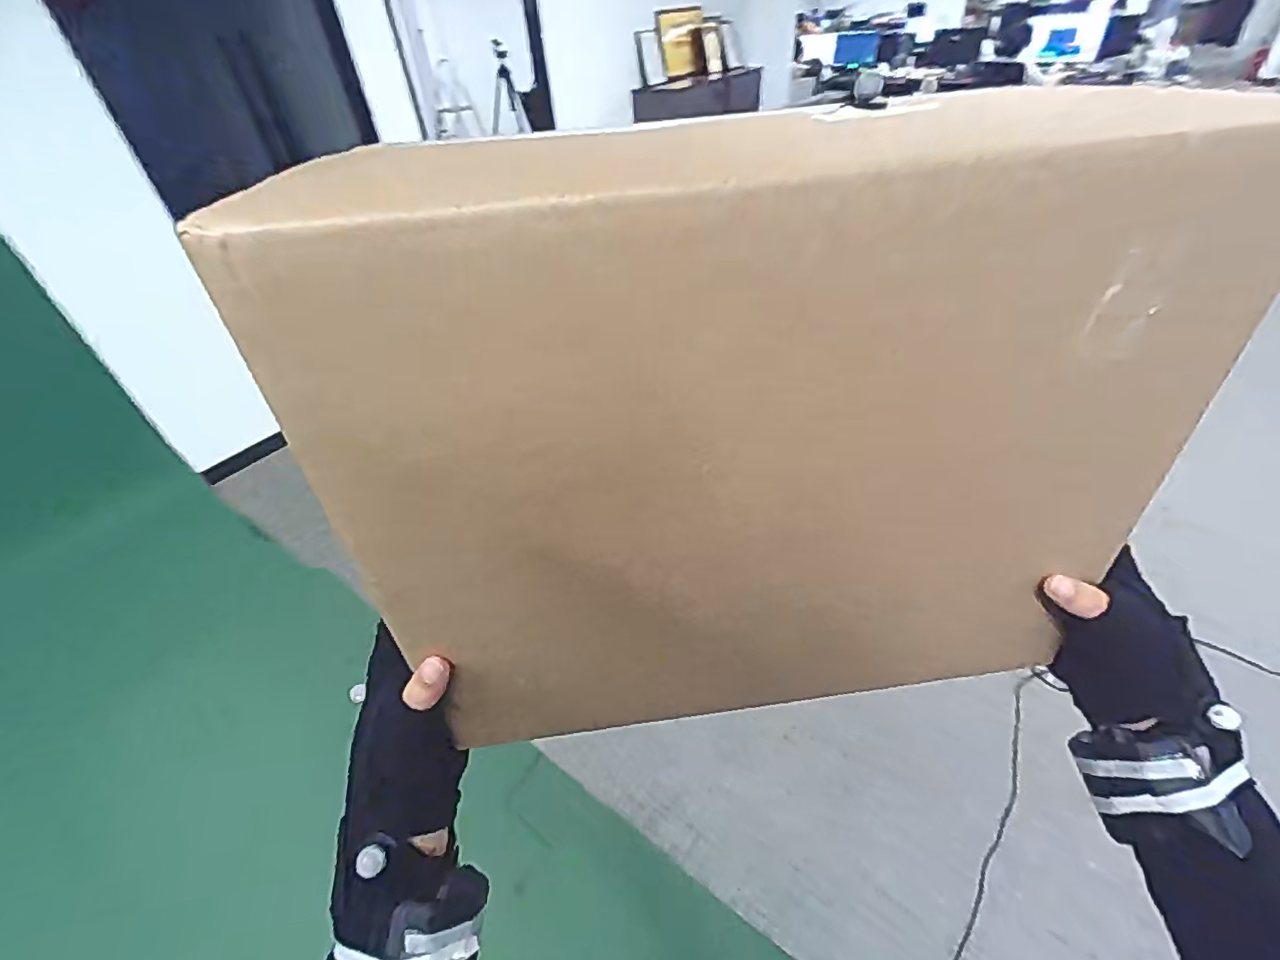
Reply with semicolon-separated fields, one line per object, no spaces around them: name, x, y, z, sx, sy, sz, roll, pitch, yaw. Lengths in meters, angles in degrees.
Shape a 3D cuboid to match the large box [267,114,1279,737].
large box;0.062;-0.062;0.392;0.408;0.320;0.320;-6;36;-4
